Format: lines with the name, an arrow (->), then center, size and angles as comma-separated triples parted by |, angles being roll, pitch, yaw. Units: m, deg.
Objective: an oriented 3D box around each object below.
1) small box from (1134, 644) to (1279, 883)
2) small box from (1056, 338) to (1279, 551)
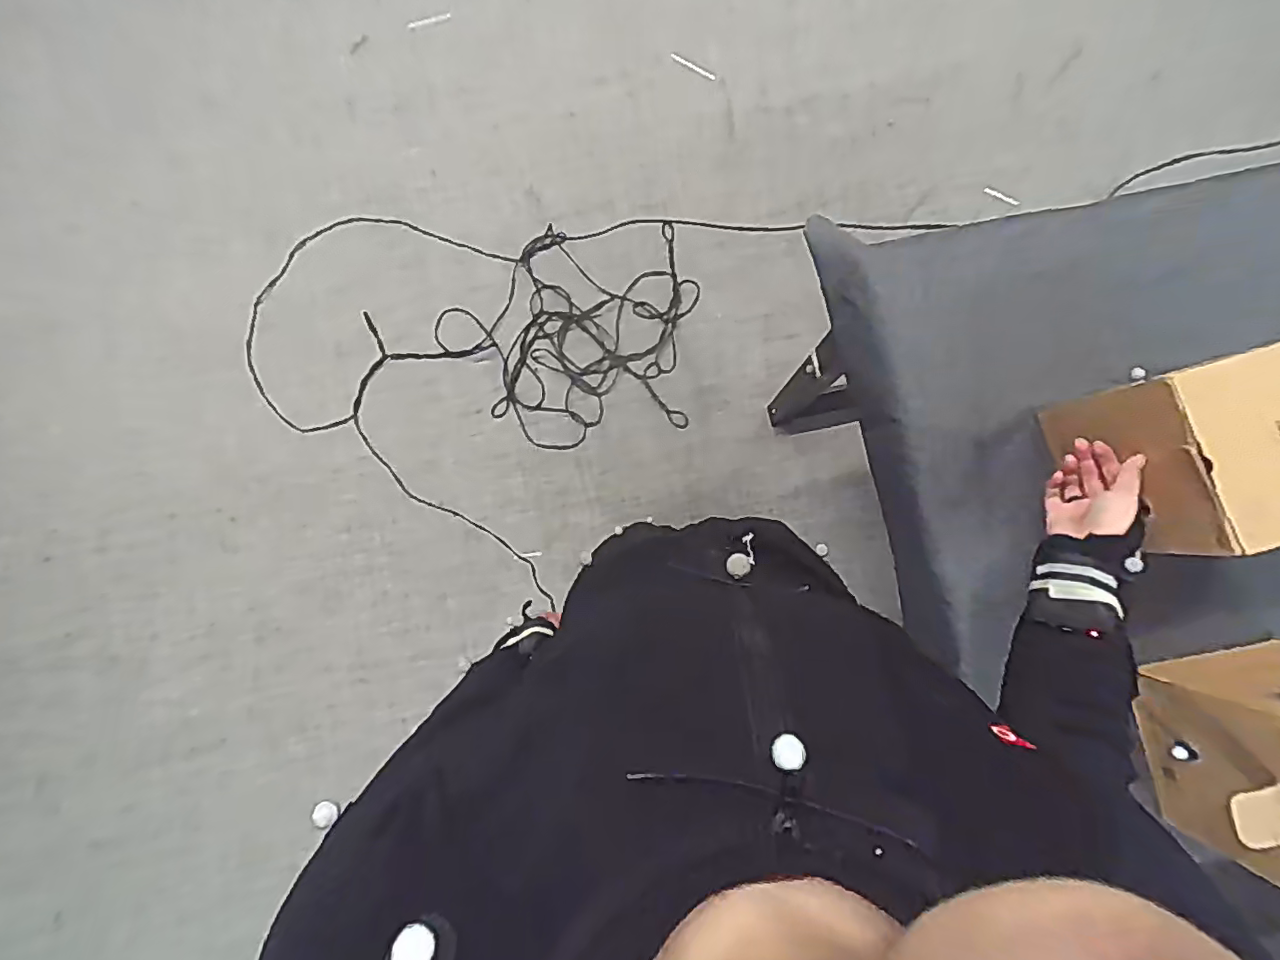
small box -> 0.638, 0.265, 0.509 | 0.179, 0.176, 0.168 | -12, 85, 2
small box -> 0.566, -0.033, 0.539 | 0.179, 0.176, 0.168 | -18, 86, 0
